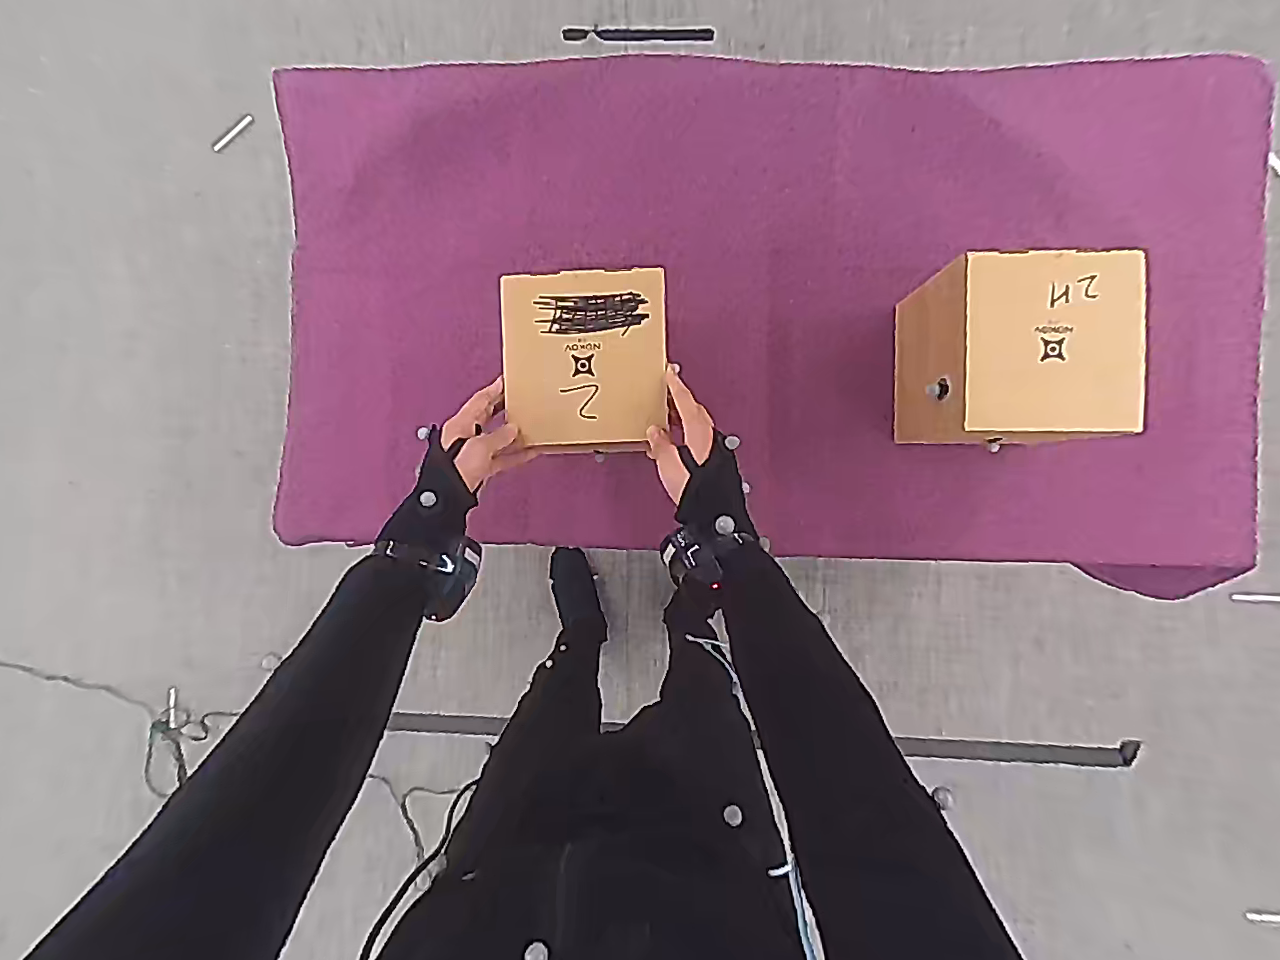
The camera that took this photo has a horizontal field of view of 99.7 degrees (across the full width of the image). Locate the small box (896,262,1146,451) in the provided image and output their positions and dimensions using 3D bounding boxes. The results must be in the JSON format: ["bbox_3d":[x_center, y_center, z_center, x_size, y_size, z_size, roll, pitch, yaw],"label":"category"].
[{"bbox_3d":[0.401,-0.123,0.599,0.168,0.176,0.179,1,90,3],"label":"small box"}]
